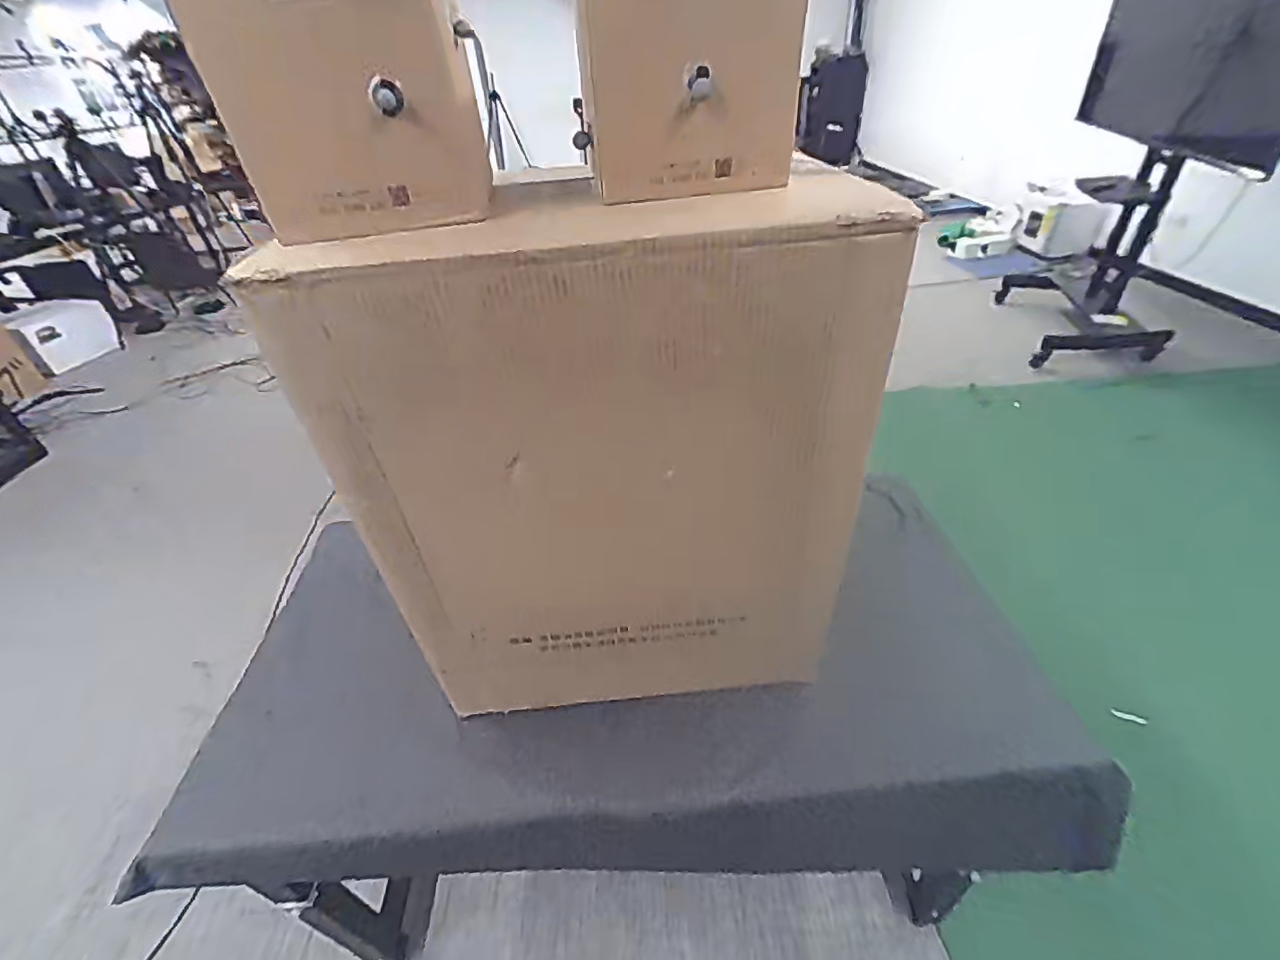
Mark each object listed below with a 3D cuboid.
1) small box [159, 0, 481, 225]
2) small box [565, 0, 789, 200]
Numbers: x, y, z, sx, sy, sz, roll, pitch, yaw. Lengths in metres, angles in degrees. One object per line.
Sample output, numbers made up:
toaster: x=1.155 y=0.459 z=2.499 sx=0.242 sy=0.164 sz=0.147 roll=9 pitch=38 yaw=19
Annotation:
small box: x=-0.236 y=-0.326 z=0.450 sx=0.168 sy=0.176 sz=0.179 roll=-12 pitch=42 yaw=-7
small box: x=0.027 y=-0.362 z=0.483 sx=0.168 sy=0.176 sz=0.179 roll=-8 pitch=41 yaw=-3
